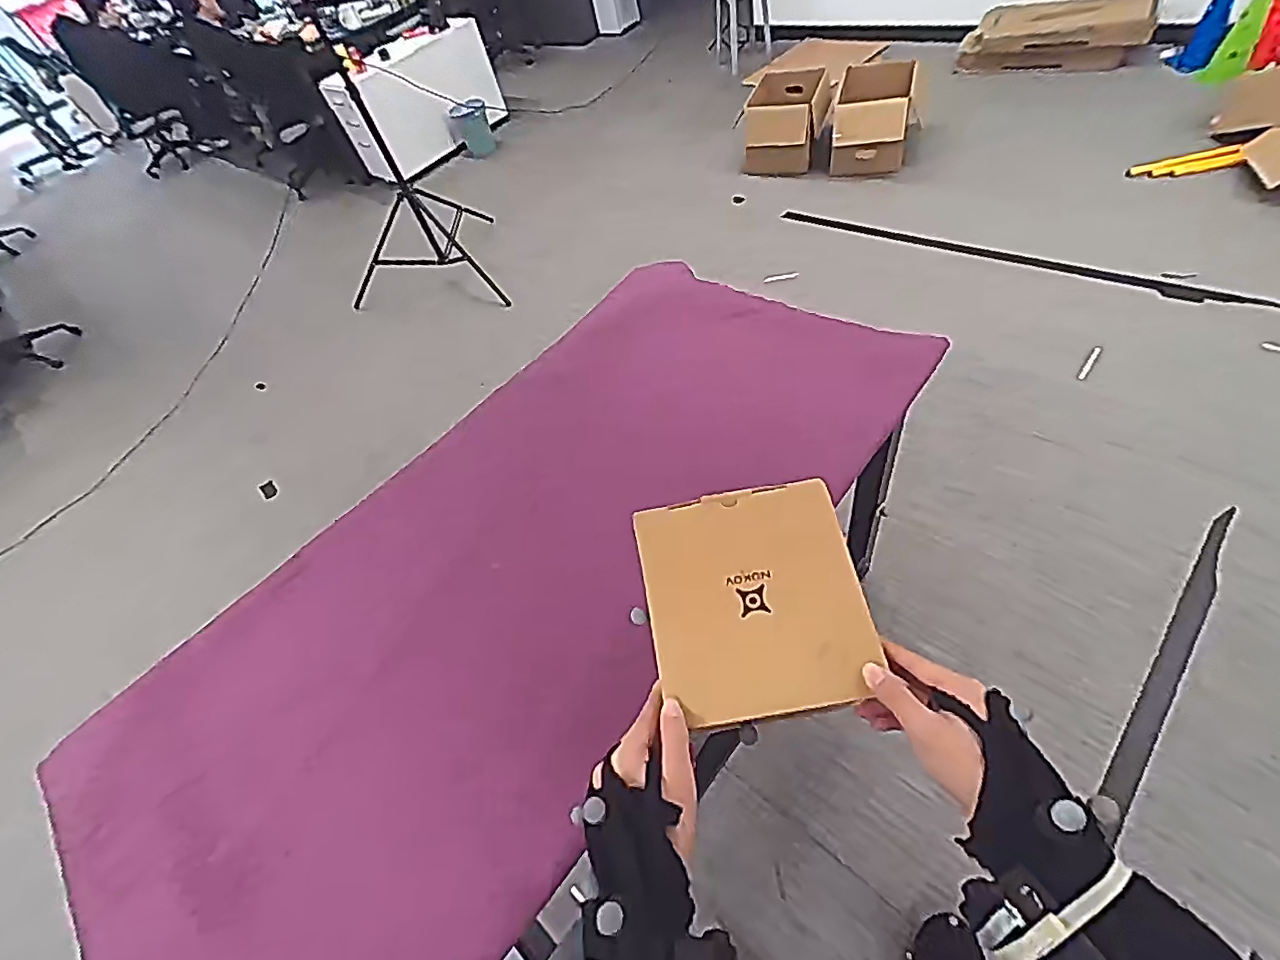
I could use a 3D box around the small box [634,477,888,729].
[{"bbox_3d":[0.096,0.122,0.493,0.168,0.176,0.179,-11,62,3],"label":"small box"}]
